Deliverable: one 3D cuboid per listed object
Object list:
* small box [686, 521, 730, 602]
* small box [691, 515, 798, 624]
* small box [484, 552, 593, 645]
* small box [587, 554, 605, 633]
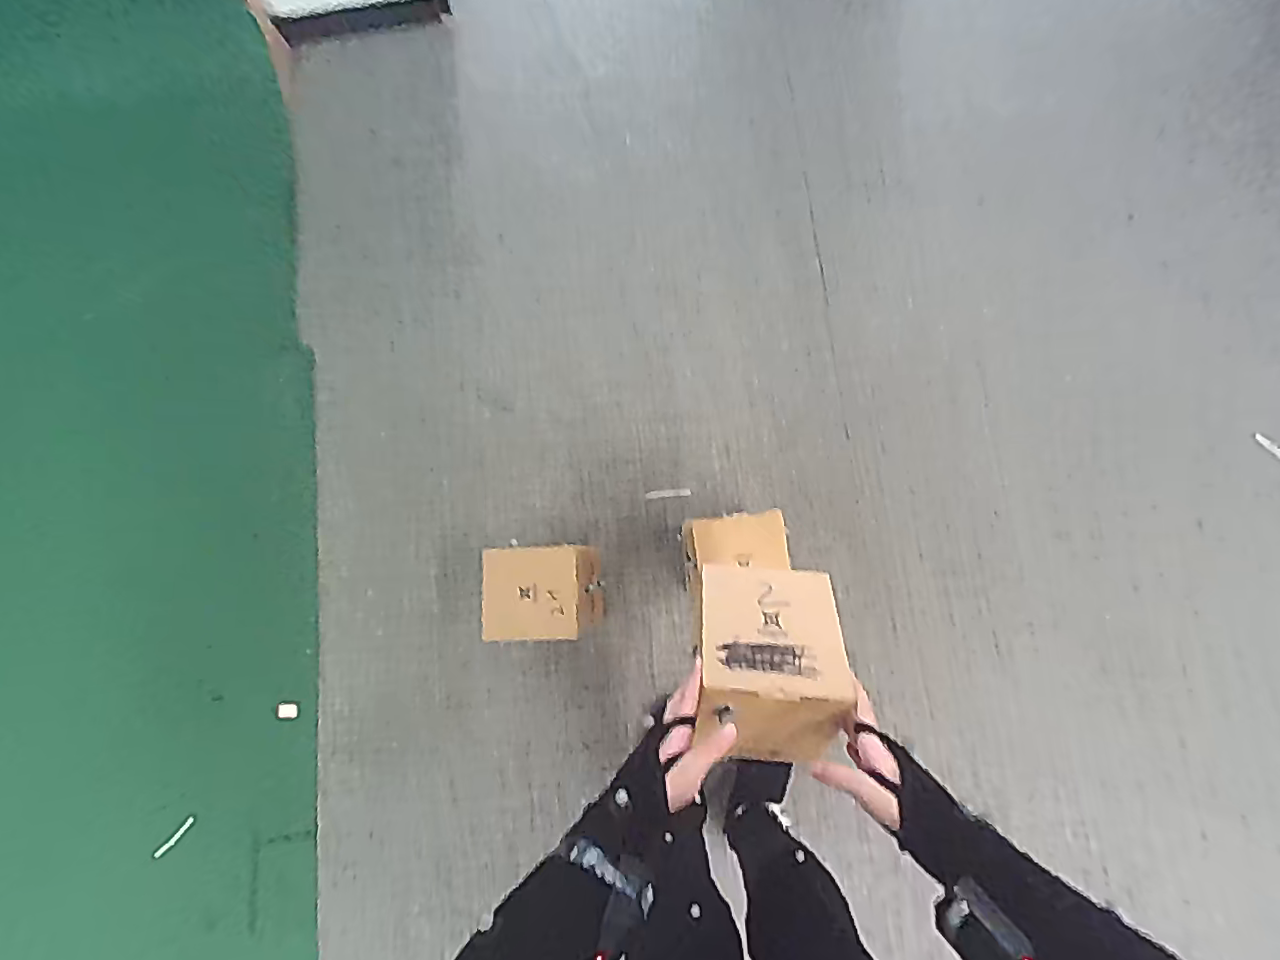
[{"bbox_3d":[0.195,0.181,1.204,0.179,0.176,0.168,-5,81,2],"label":"small box"},{"bbox_3d":[0.193,0.170,1.042,0.168,0.176,0.179,-9,80,2],"label":"small box"},{"bbox_3d":[-0.190,0.227,1.054,0.179,0.176,0.168,-2,81,2],"label":"small box"},{"bbox_3d":[-0.172,0.253,1.216,0.179,0.176,0.168,-3,81,2],"label":"small box"}]
